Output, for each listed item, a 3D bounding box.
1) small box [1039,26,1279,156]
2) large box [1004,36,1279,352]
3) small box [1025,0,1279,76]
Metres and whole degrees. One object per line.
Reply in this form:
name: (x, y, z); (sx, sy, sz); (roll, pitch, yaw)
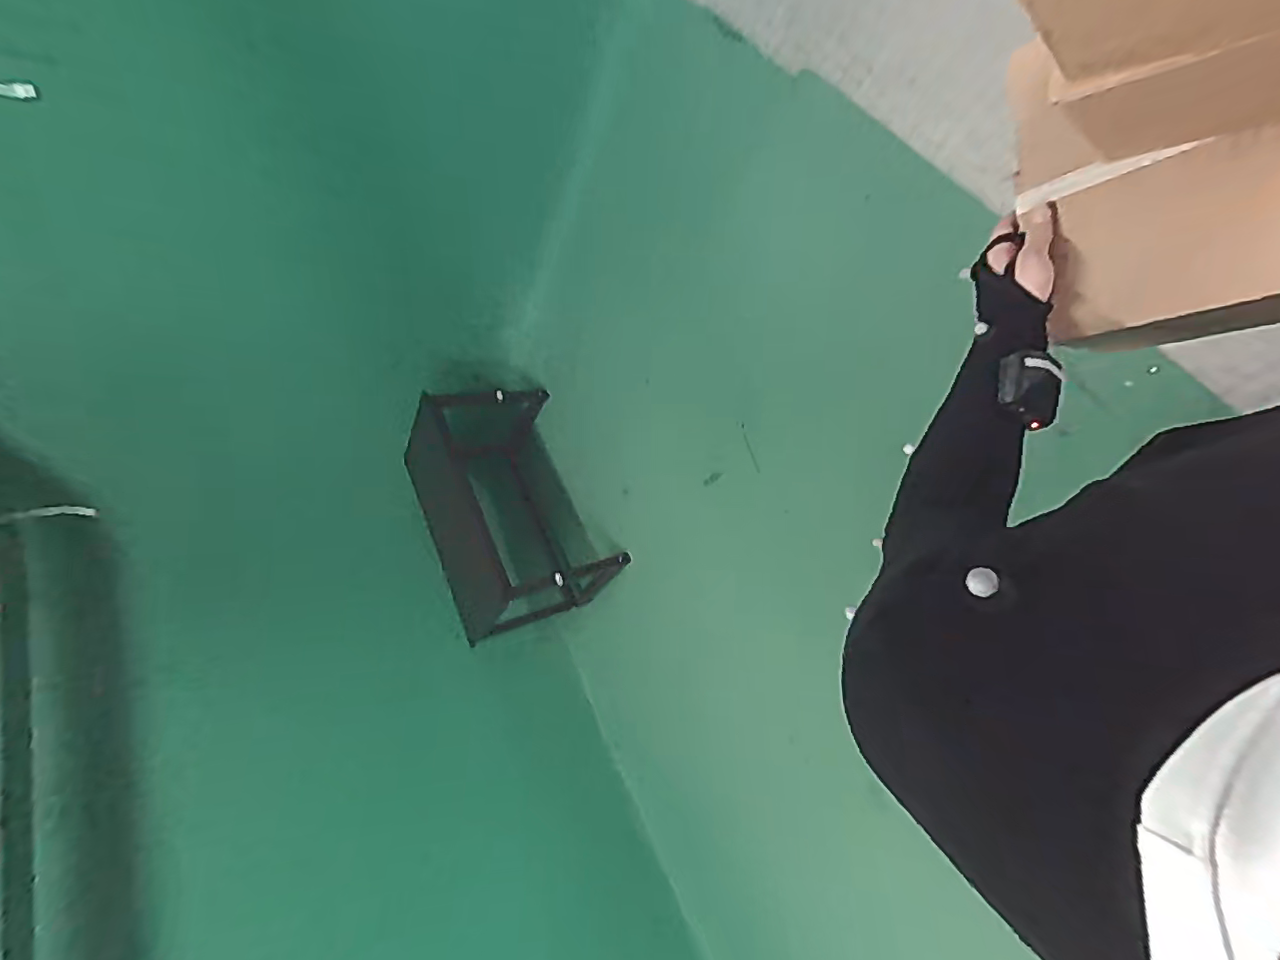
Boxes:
small box: (0.427, -0.368, 0.394); (0.179, 0.176, 0.168); (10, 103, 48)
large box: (0.645, -0.332, 0.521); (0.408, 0.320, 0.320); (-8, 92, 49)
small box: (0.315, -0.350, 0.276); (0.179, 0.176, 0.168); (17, 109, 46)
